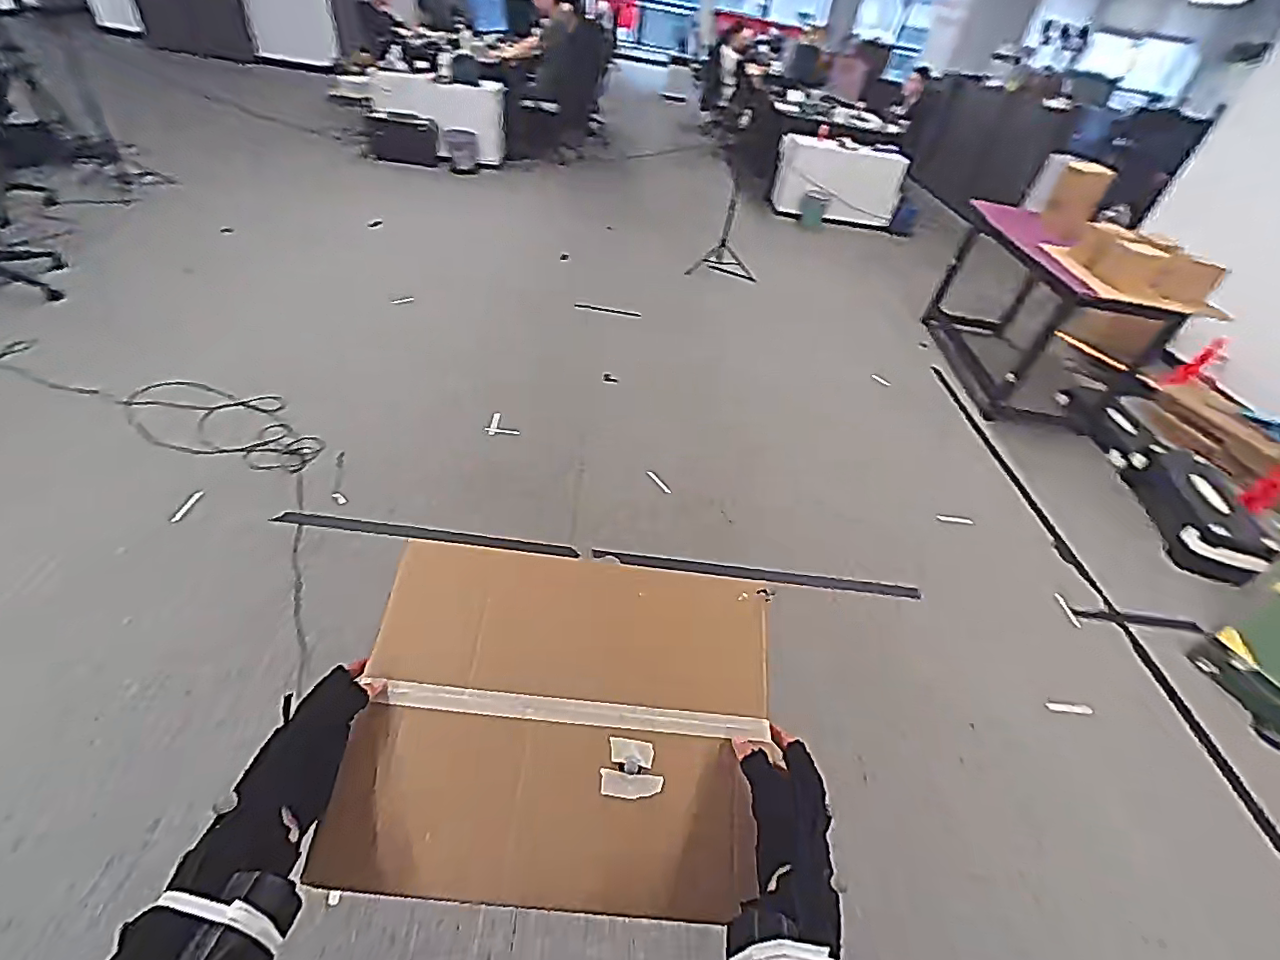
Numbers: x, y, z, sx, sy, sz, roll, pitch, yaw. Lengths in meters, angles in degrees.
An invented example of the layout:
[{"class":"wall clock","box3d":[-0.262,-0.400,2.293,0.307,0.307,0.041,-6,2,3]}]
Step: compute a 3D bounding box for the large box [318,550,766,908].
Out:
[{"class":"large box","box3d":[-0.092,0.304,0.676,0.408,0.320,0.320,7,61,-4]}]
